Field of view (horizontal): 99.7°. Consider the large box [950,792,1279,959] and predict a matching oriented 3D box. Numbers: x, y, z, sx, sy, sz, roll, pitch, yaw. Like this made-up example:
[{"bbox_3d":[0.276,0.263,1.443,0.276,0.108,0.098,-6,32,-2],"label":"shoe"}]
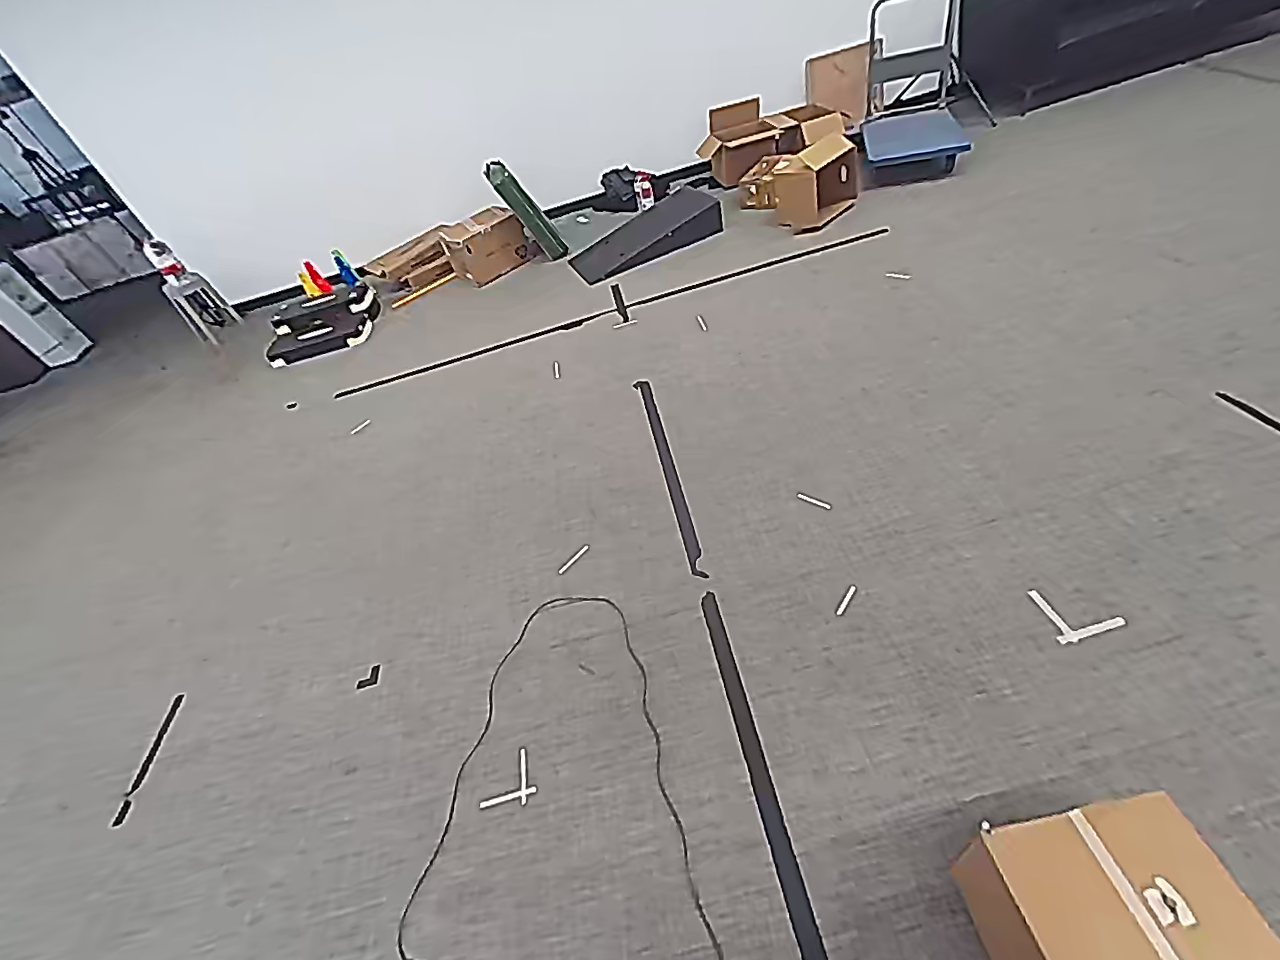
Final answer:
[{"bbox_3d":[0.788,0.806,0.882,0.320,0.320,0.408,-14,42,2],"label":"large box"}]
